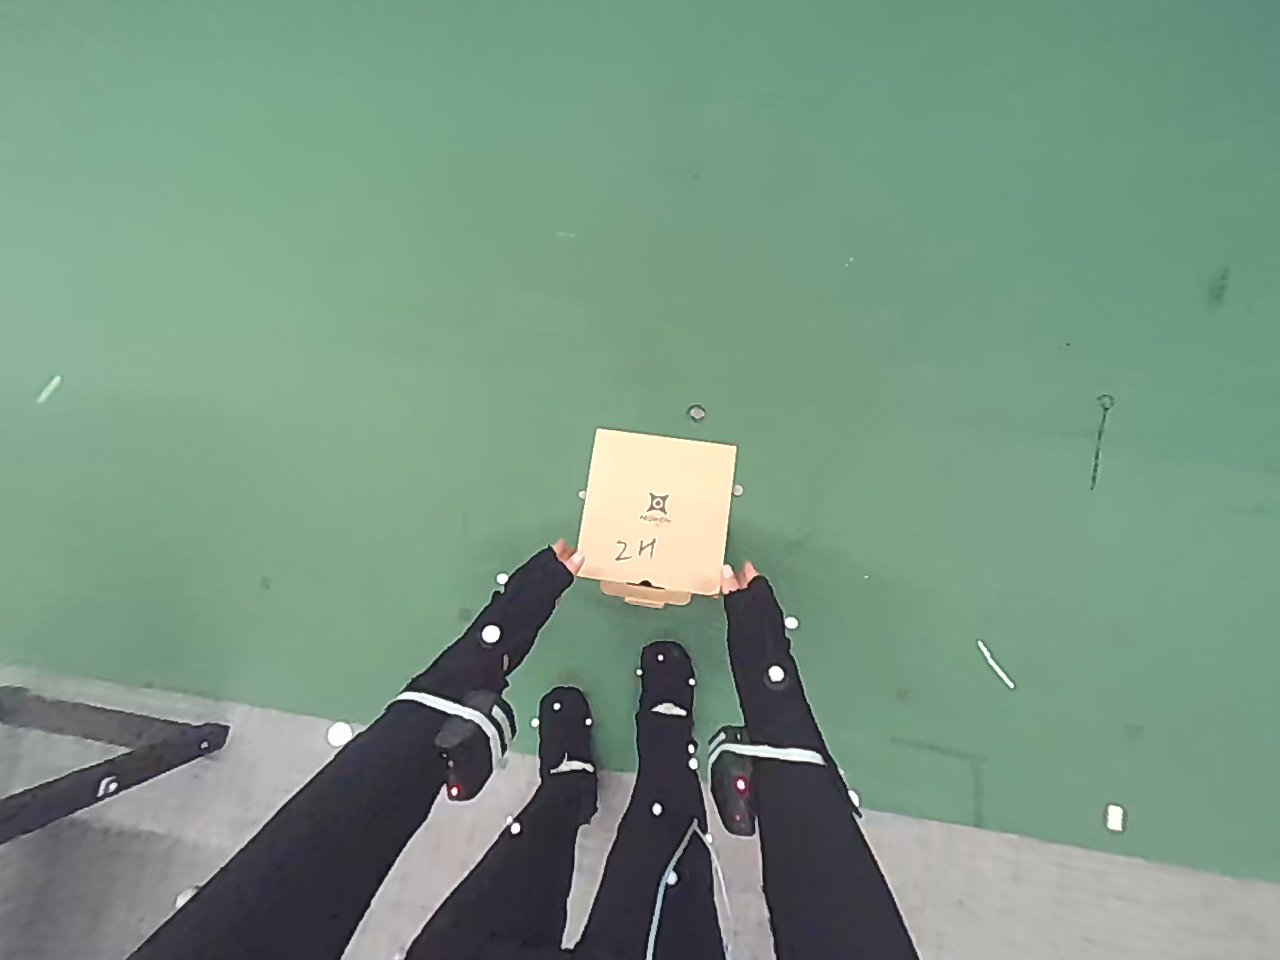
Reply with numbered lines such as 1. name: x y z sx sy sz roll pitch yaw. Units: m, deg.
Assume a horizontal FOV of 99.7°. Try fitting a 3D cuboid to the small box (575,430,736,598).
1. small box: 0.021 0.049 0.698 0.168 0.176 0.179 8 82 4
